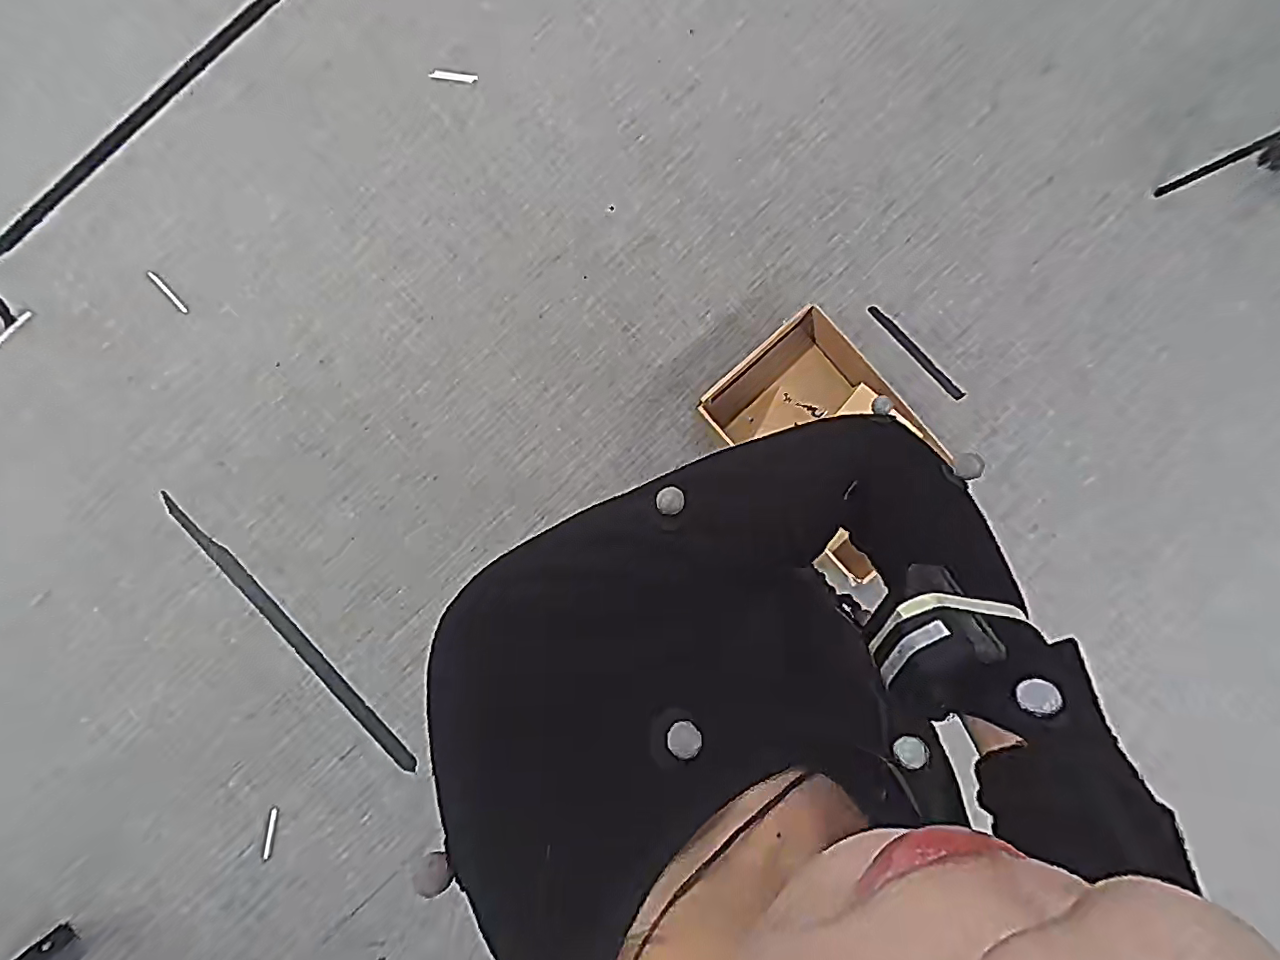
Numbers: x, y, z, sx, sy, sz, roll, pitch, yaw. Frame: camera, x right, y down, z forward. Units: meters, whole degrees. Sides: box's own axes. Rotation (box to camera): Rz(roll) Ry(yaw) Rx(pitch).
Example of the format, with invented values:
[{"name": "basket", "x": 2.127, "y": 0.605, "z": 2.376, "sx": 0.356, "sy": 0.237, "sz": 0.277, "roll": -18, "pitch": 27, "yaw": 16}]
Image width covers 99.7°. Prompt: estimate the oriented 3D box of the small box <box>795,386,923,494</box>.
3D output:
[{"name": "small box", "x": 0.487, "y": -0.085, "z": 1.230, "sx": 0.179, "sy": 0.176, "sz": 0.168, "roll": 40, "pitch": 88, "yaw": 1}]
